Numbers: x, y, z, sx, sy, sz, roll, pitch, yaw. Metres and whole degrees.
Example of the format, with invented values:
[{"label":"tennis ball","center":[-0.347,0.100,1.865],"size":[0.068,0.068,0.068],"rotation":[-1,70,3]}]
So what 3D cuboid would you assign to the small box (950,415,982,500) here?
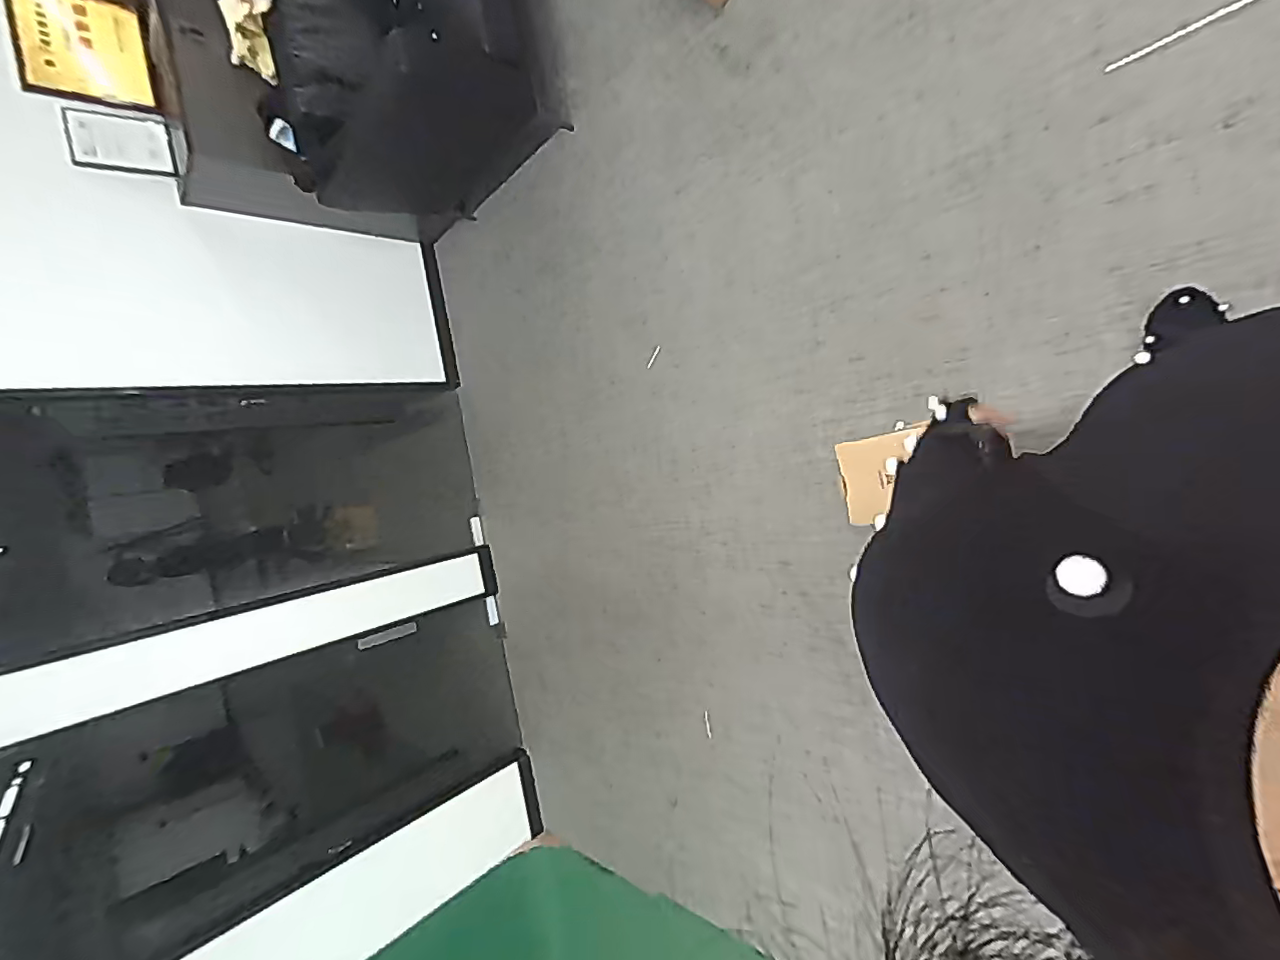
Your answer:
[{"label":"small box","center":[0.617,-0.043,1.179],"size":[0.179,0.176,0.168],"rotation":[-11,91,44]}]

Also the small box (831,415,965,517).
[{"label":"small box","center":[0.506,-0.028,1.059],"size":[0.179,0.176,0.168],"rotation":[-11,91,46]}]
